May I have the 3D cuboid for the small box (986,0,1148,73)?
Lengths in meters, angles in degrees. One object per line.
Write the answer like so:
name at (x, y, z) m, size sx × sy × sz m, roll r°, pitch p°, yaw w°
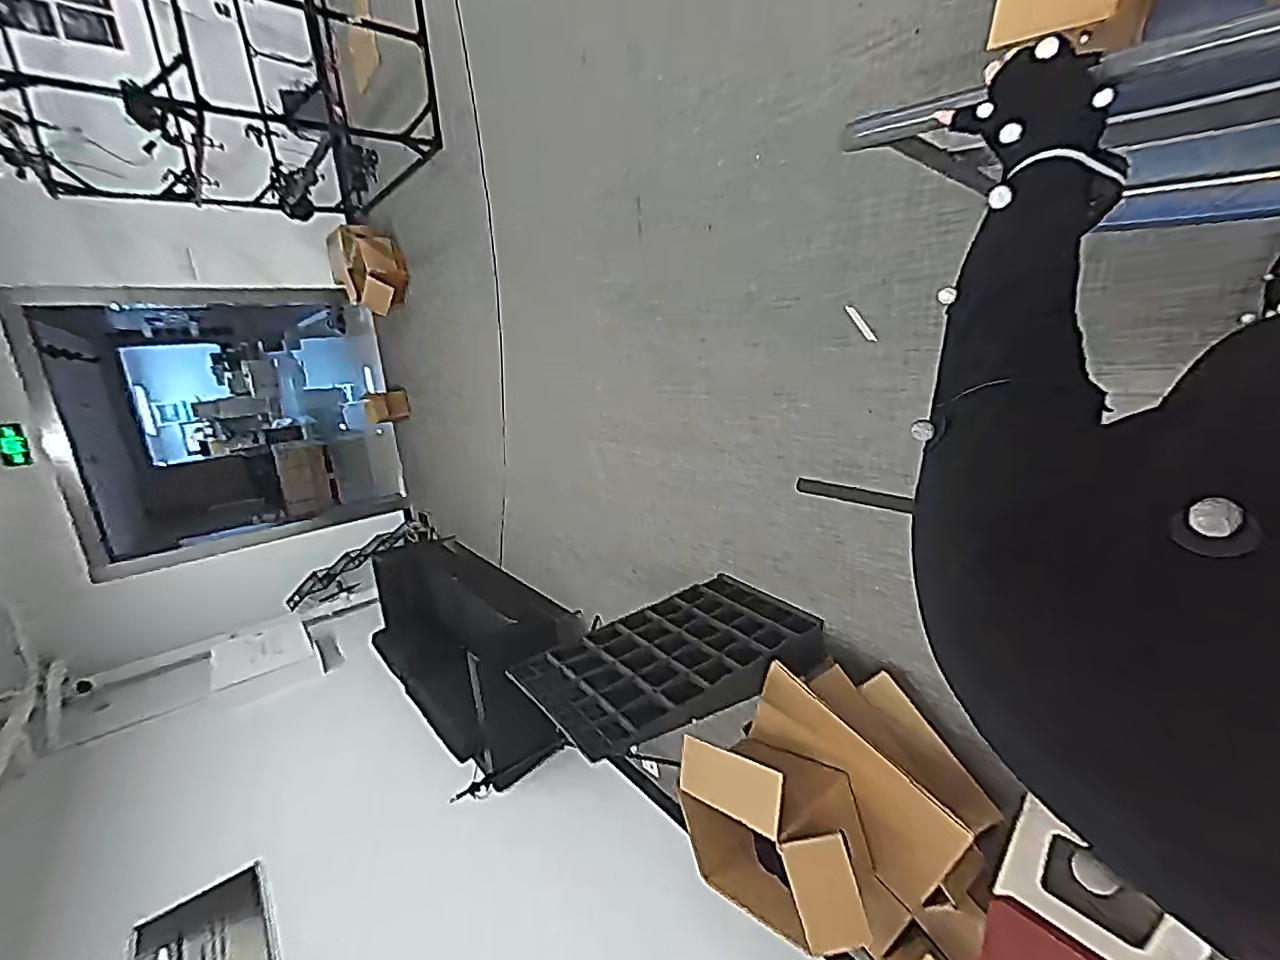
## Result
small box at (0.715, -0.806, 0.892) m, size 0.179 × 0.176 × 0.168 m, roll 23°, pitch 119°, yaw 45°
